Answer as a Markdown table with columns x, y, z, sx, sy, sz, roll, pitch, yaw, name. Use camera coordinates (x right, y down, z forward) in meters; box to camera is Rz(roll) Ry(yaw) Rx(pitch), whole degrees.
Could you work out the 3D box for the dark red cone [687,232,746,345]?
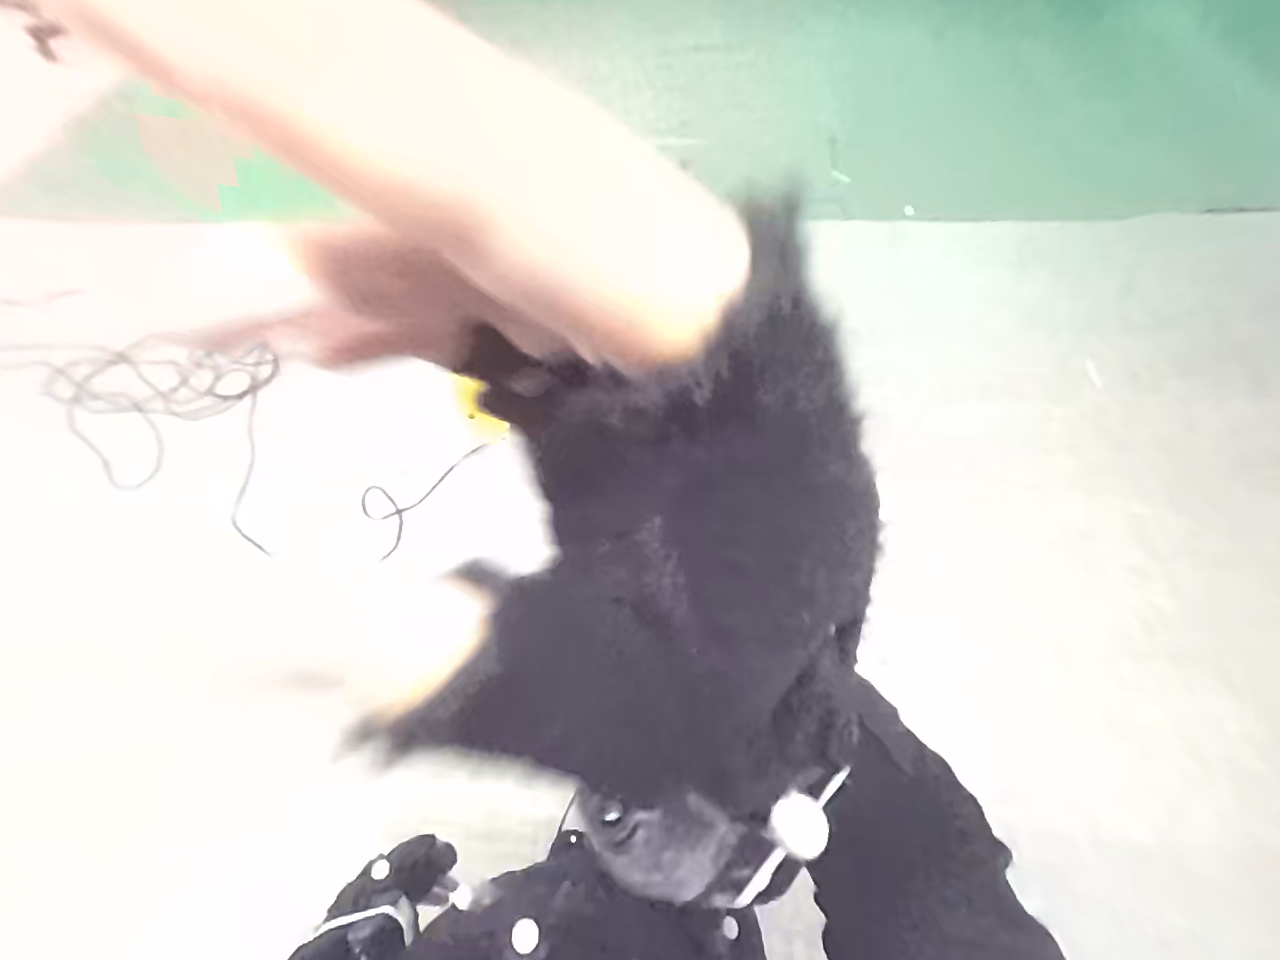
| x | y | z | sx | sy | sz | roll | pitch | yaw | name |
| --- | --- | --- | --- | --- | --- | --- | --- | --- | --- |
| 0.274 | -0.659 | 1.849 | 0.202 | 0.394 | 0.201 | -4 | 57 | 0 | dark red cone |
